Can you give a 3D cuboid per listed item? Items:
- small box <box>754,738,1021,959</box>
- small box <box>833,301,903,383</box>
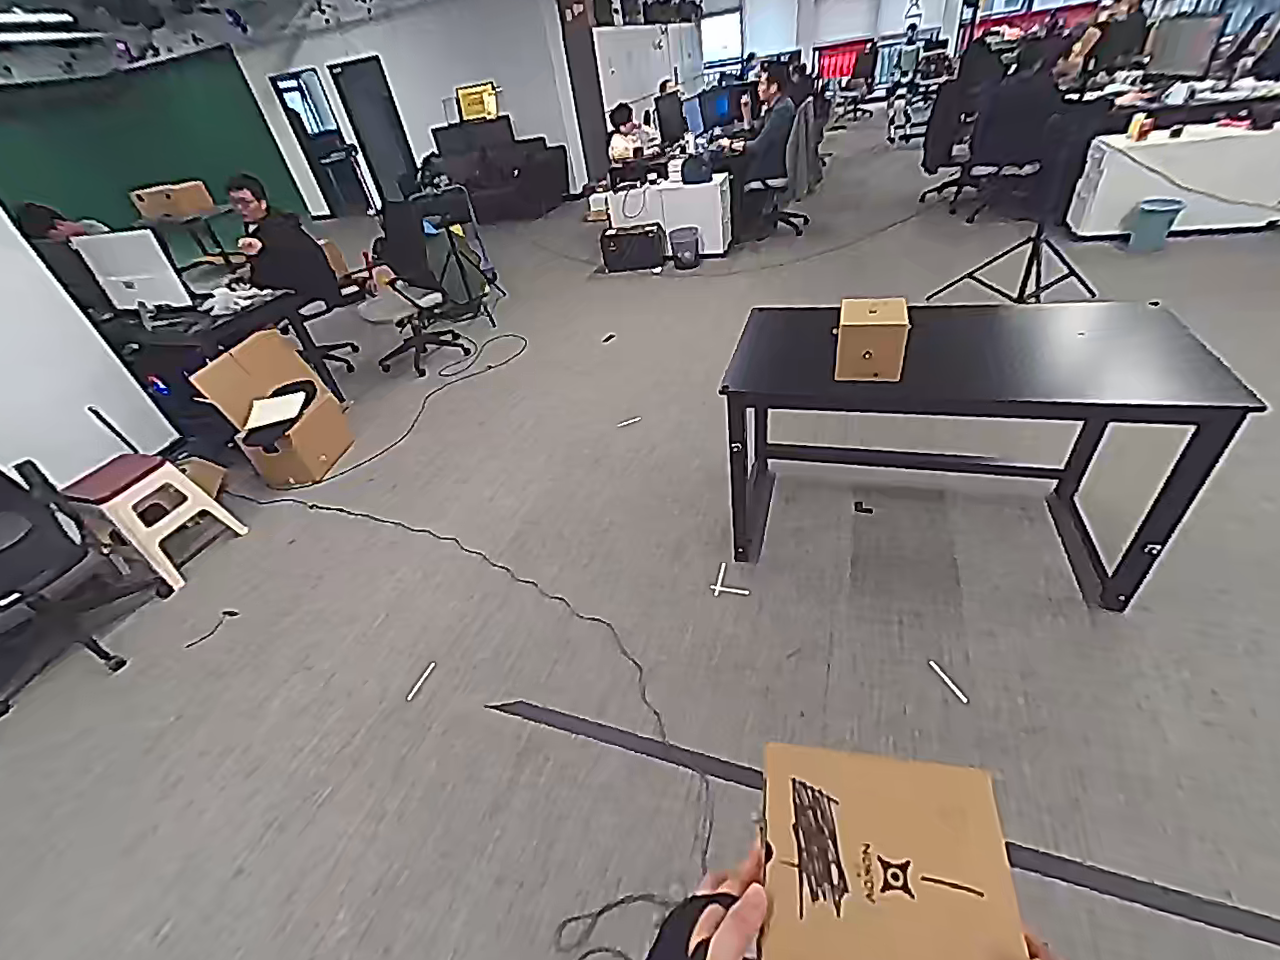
[{"bbox_3d":[0.192,0.345,0.465,0.179,0.176,0.168,1,48,14],"label":"small box"},{"bbox_3d":[0.635,-0.385,1.514,0.168,0.176,0.179,5,40,19],"label":"small box"}]
